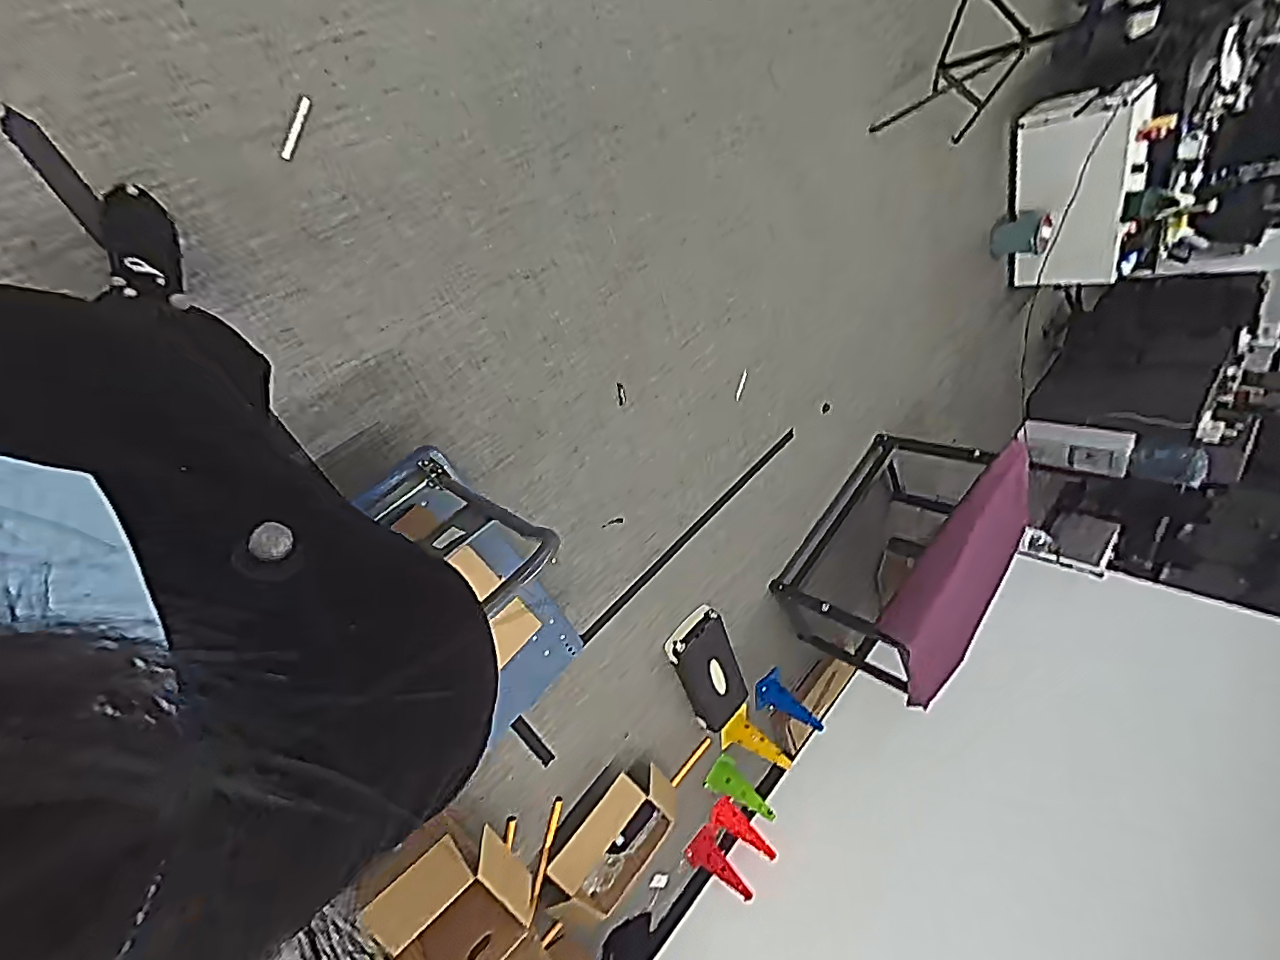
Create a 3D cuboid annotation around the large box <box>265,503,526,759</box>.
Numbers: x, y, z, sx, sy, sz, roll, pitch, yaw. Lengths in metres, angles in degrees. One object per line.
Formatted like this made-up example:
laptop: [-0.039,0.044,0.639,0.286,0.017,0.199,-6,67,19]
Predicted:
large box: [-0.553,0.324,1.247,0.408,0.320,0.320,-45,128,-20]
